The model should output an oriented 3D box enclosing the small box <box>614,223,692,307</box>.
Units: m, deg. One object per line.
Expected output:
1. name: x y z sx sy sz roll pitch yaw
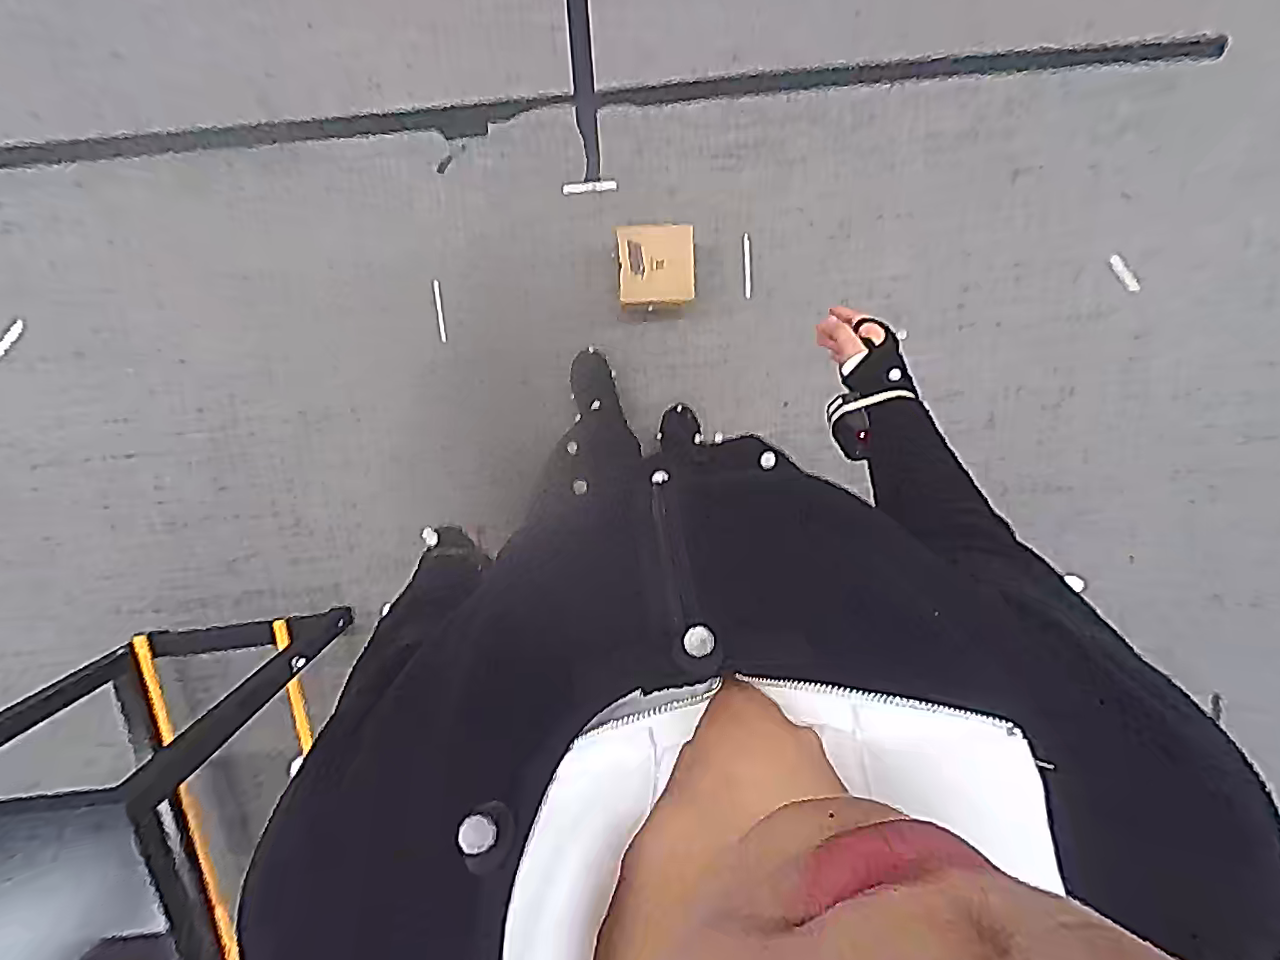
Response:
1. small box: 0.029 -0.515 1.313 0.179 0.176 0.168 -3 102 -3
